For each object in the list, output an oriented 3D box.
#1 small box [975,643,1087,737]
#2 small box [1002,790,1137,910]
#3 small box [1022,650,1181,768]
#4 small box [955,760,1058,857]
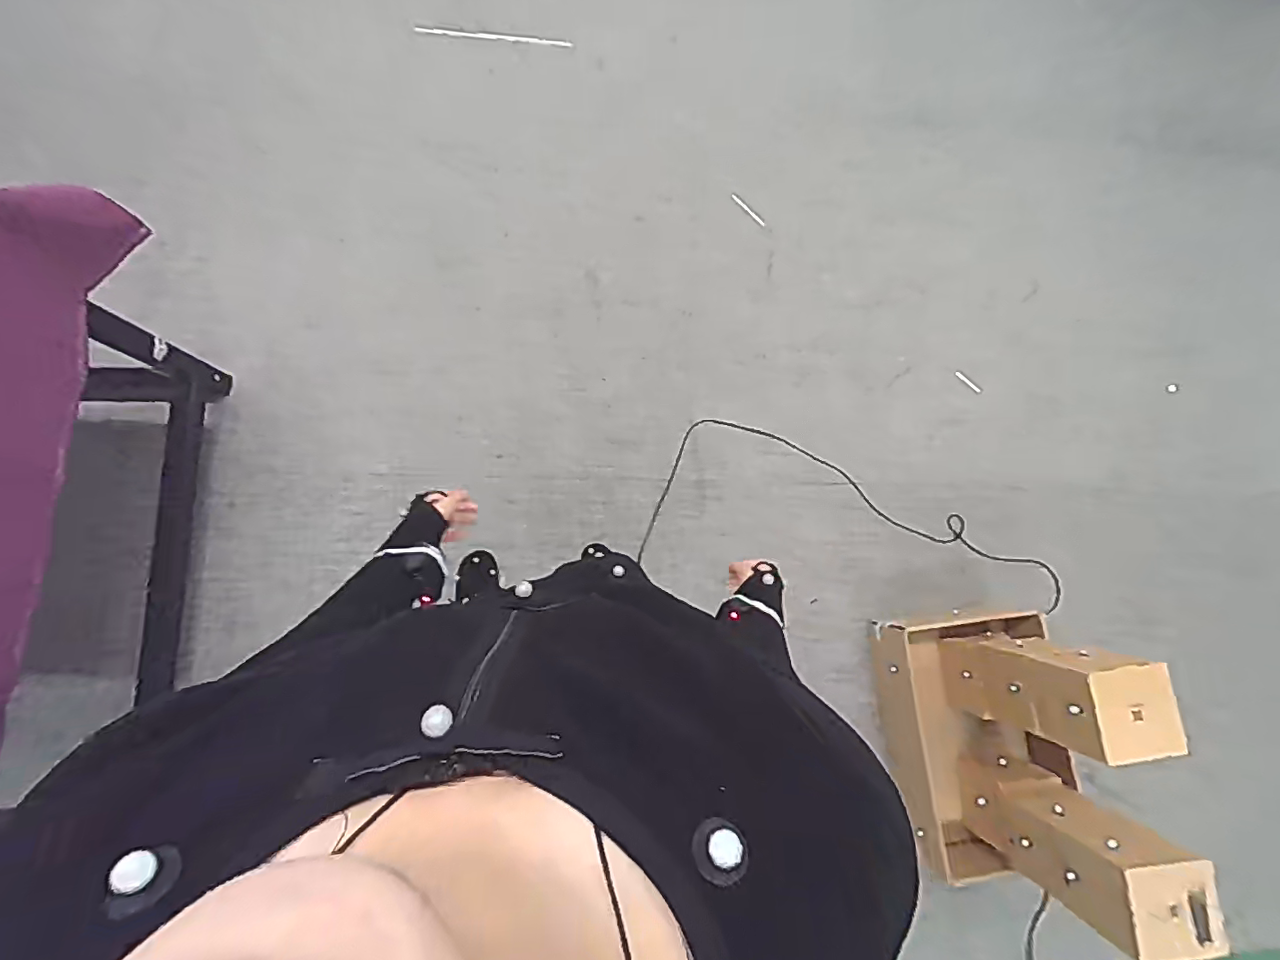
[{"bbox_3d":[0.930,0.487,1.281,0.168,0.176,0.179,-2,83,-4],"label":"small box"},{"bbox_3d":[0.960,0.832,1.231,0.179,0.176,0.168,-2,82,-6],"label":"small box"},{"bbox_3d":[0.943,0.465,1.121,0.168,0.176,0.179,-7,81,-5],"label":"small box"},{"bbox_3d":[0.946,0.842,1.395,0.168,0.176,0.179,-2,81,-5],"label":"small box"}]
